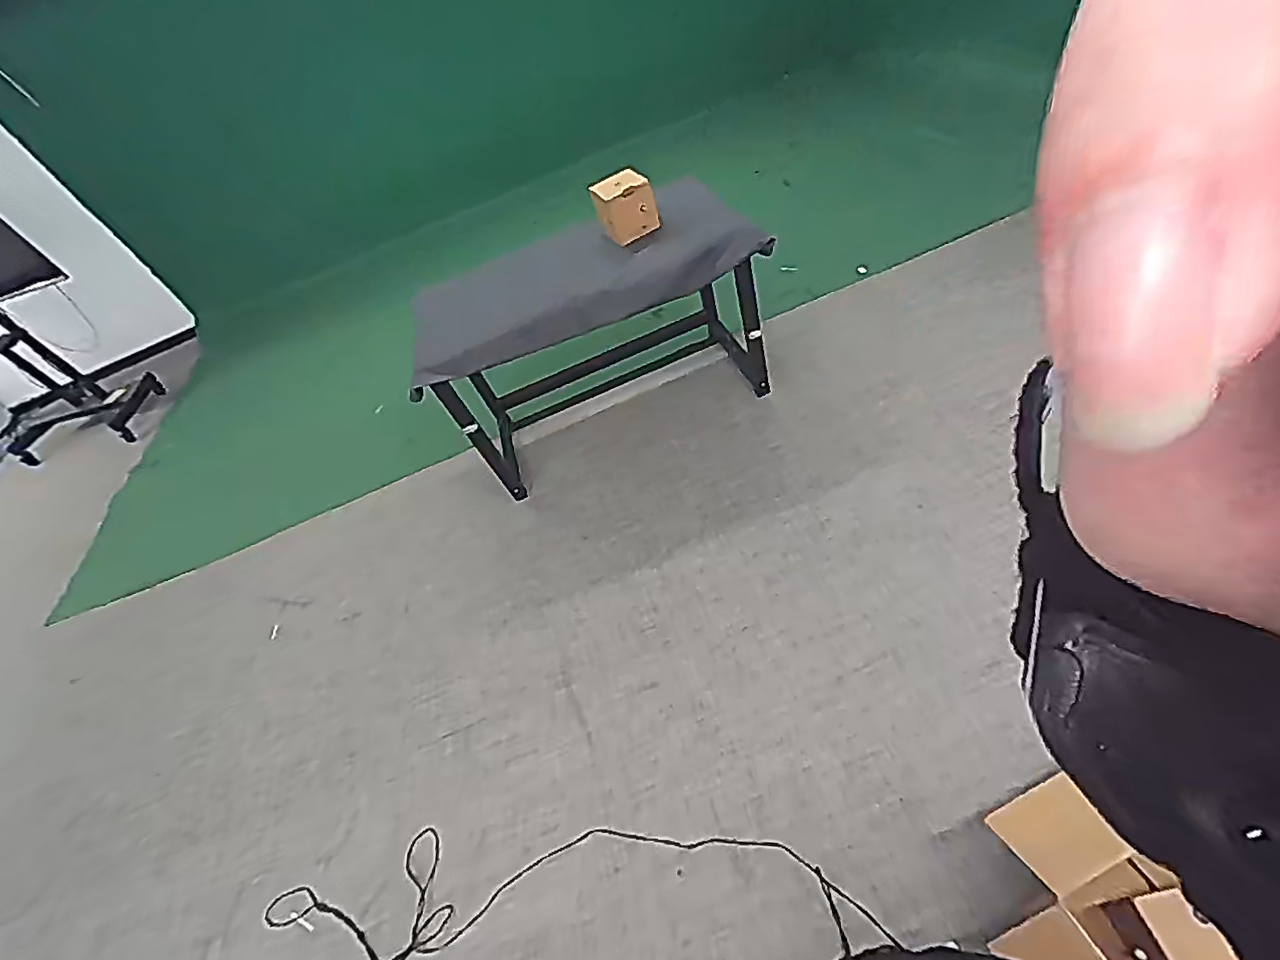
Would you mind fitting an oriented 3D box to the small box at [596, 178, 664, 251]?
[{"bbox_3d":[-0.033,-0.951,1.945,0.168,0.176,0.179,-28,45,-7],"label":"small box"}]
